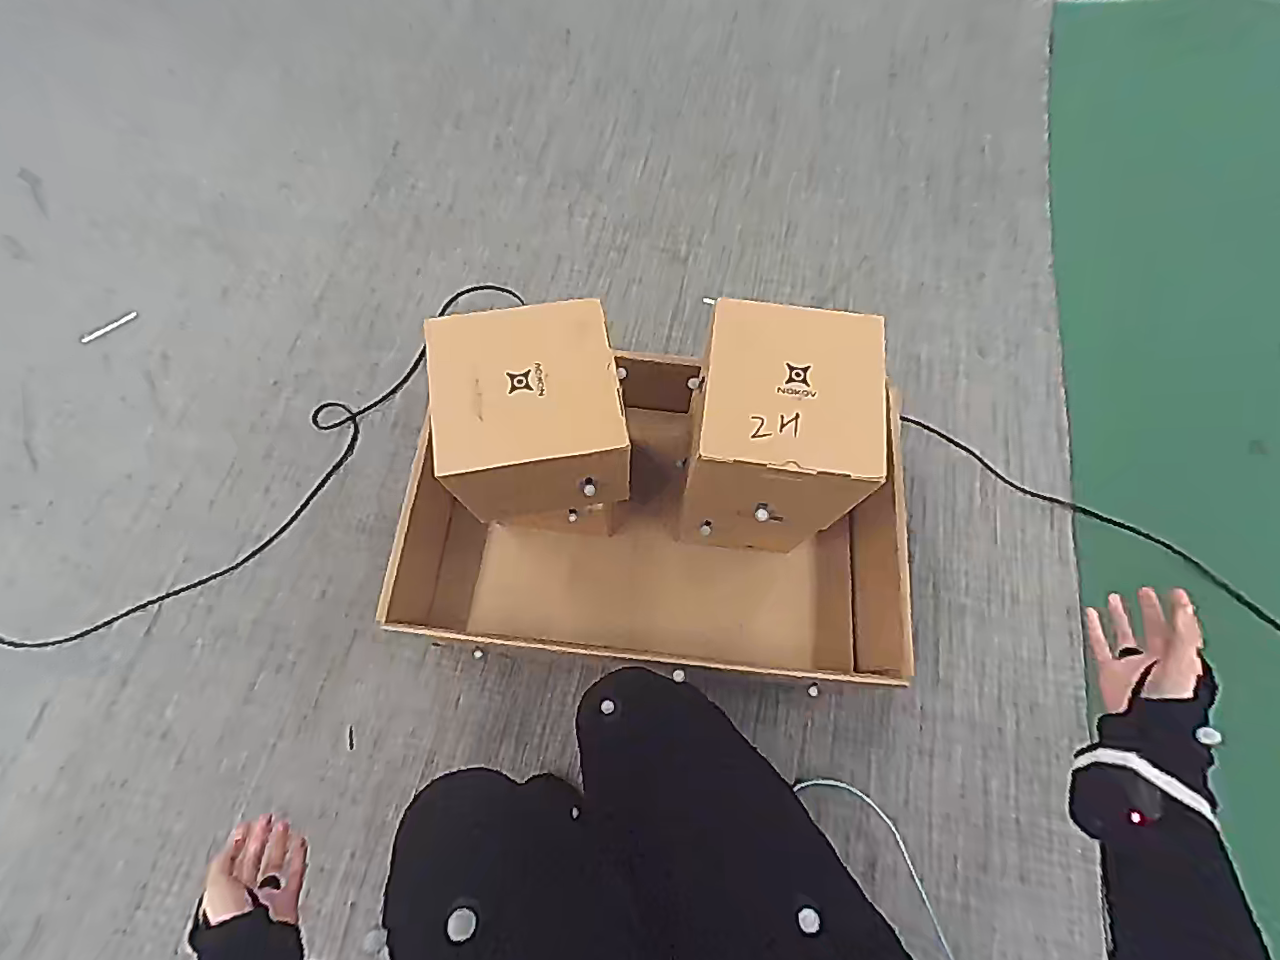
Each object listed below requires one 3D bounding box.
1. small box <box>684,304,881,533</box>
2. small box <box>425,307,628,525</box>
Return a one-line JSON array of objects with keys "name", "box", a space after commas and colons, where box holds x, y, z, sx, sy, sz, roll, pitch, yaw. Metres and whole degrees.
[{"name": "small box", "box": [0.140, -0.056, 0.577, 0.168, 0.176, 0.179, 8, 71, 3]}, {"name": "small box", "box": [-0.112, -0.058, 0.581, 0.179, 0.176, 0.168, -9, 72, -4]}]
